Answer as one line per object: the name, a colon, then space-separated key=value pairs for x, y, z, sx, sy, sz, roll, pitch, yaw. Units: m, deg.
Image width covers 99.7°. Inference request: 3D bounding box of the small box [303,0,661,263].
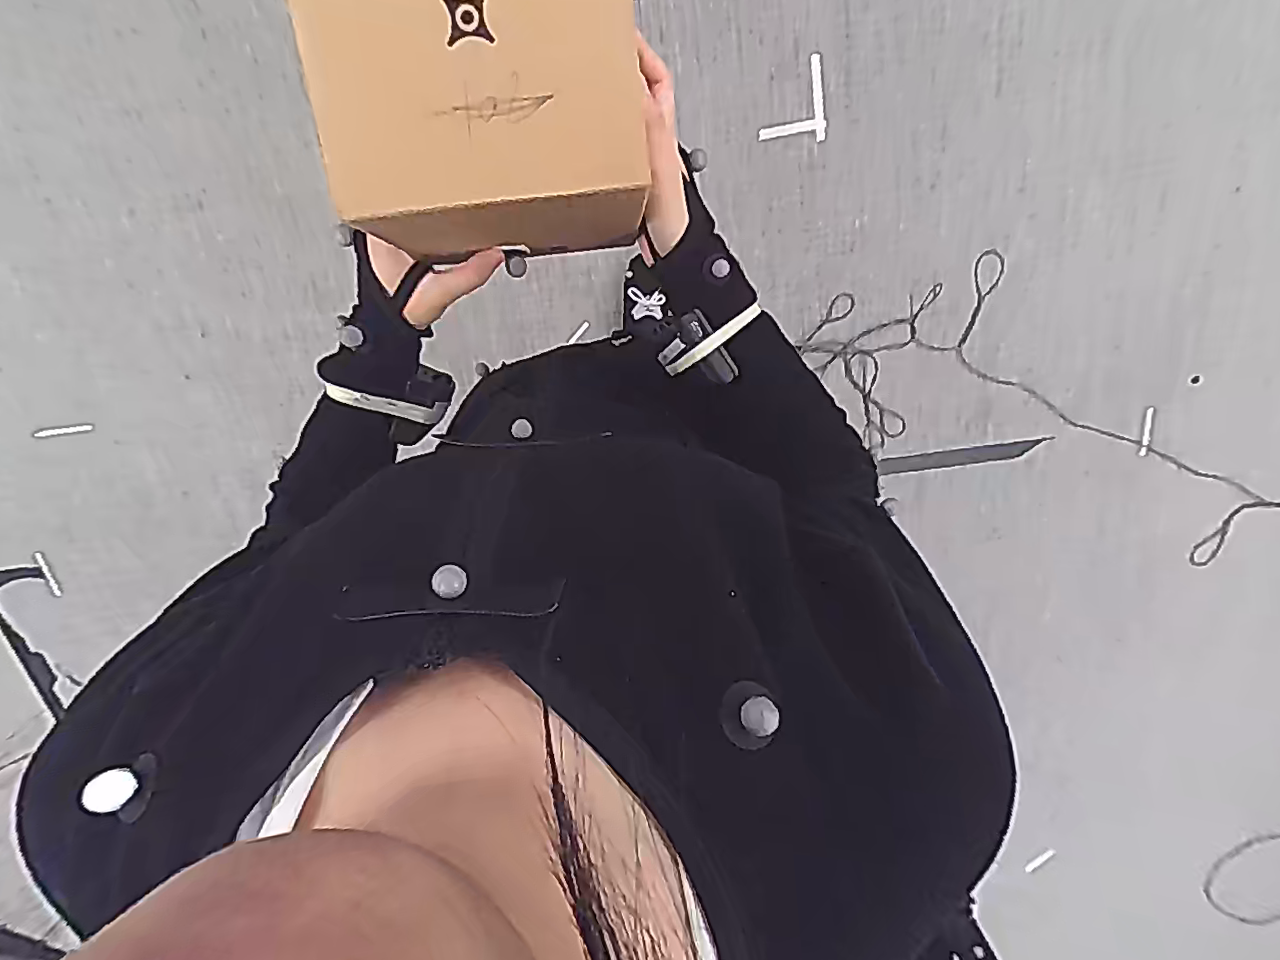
small box: x=-0.084 y=-0.250 z=0.340 sx=0.168 sy=0.176 sz=0.179 roll=-8 pitch=104 yaw=-1
